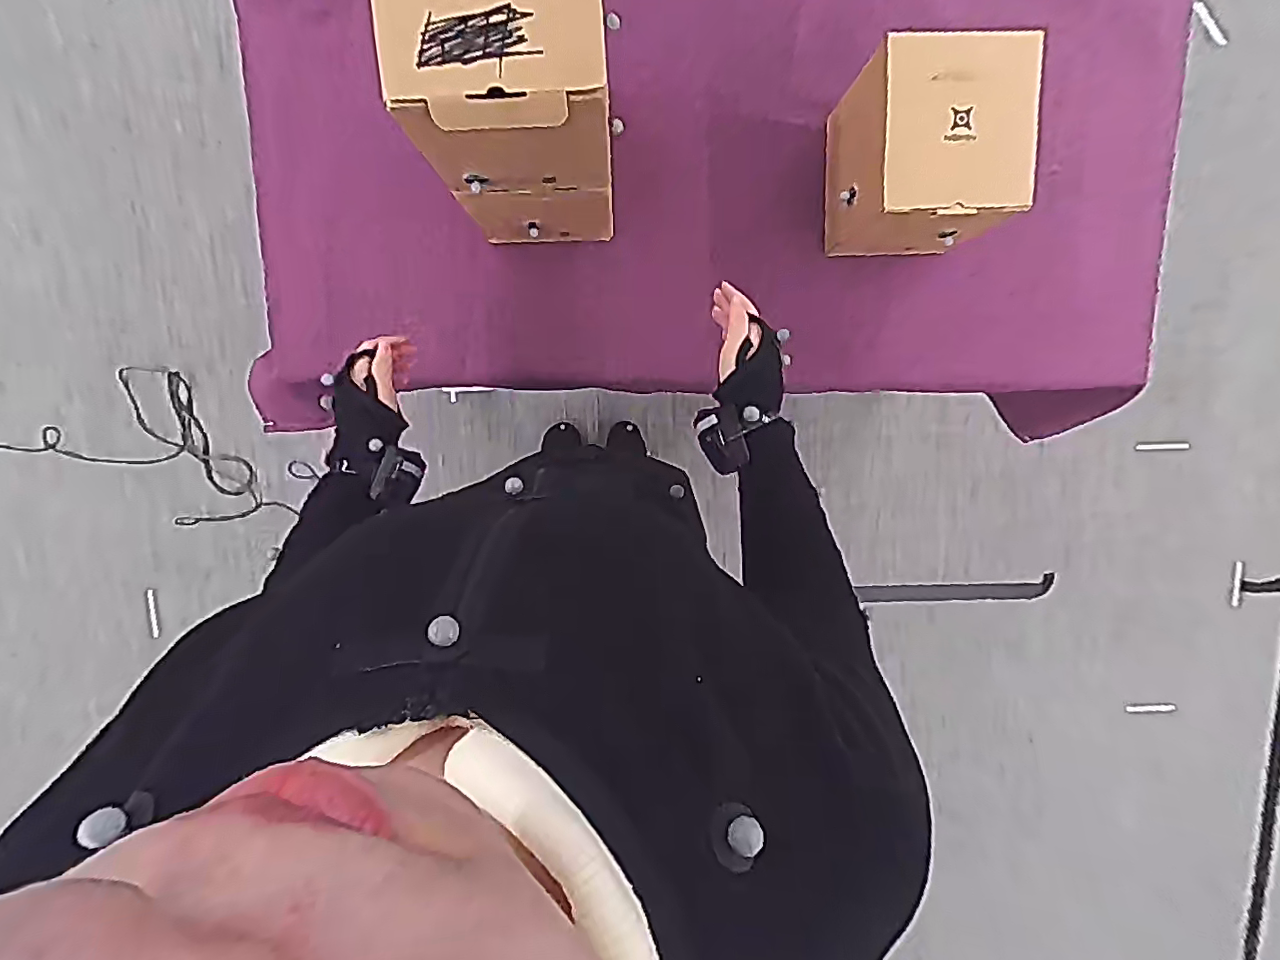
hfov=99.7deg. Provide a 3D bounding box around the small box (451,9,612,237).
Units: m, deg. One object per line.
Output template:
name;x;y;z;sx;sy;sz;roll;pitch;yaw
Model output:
small box;-0.118;-0.399;0.626;0.168;0.176;0.179;-2;99;-2

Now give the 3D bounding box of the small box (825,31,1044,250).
small box;0.331;-0.384;0.643;0.168;0.176;0.179;-1;98;-2

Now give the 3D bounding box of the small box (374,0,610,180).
small box;-0.112;-0.377;0.463;0.168;0.176;0.179;-3;98;-2
